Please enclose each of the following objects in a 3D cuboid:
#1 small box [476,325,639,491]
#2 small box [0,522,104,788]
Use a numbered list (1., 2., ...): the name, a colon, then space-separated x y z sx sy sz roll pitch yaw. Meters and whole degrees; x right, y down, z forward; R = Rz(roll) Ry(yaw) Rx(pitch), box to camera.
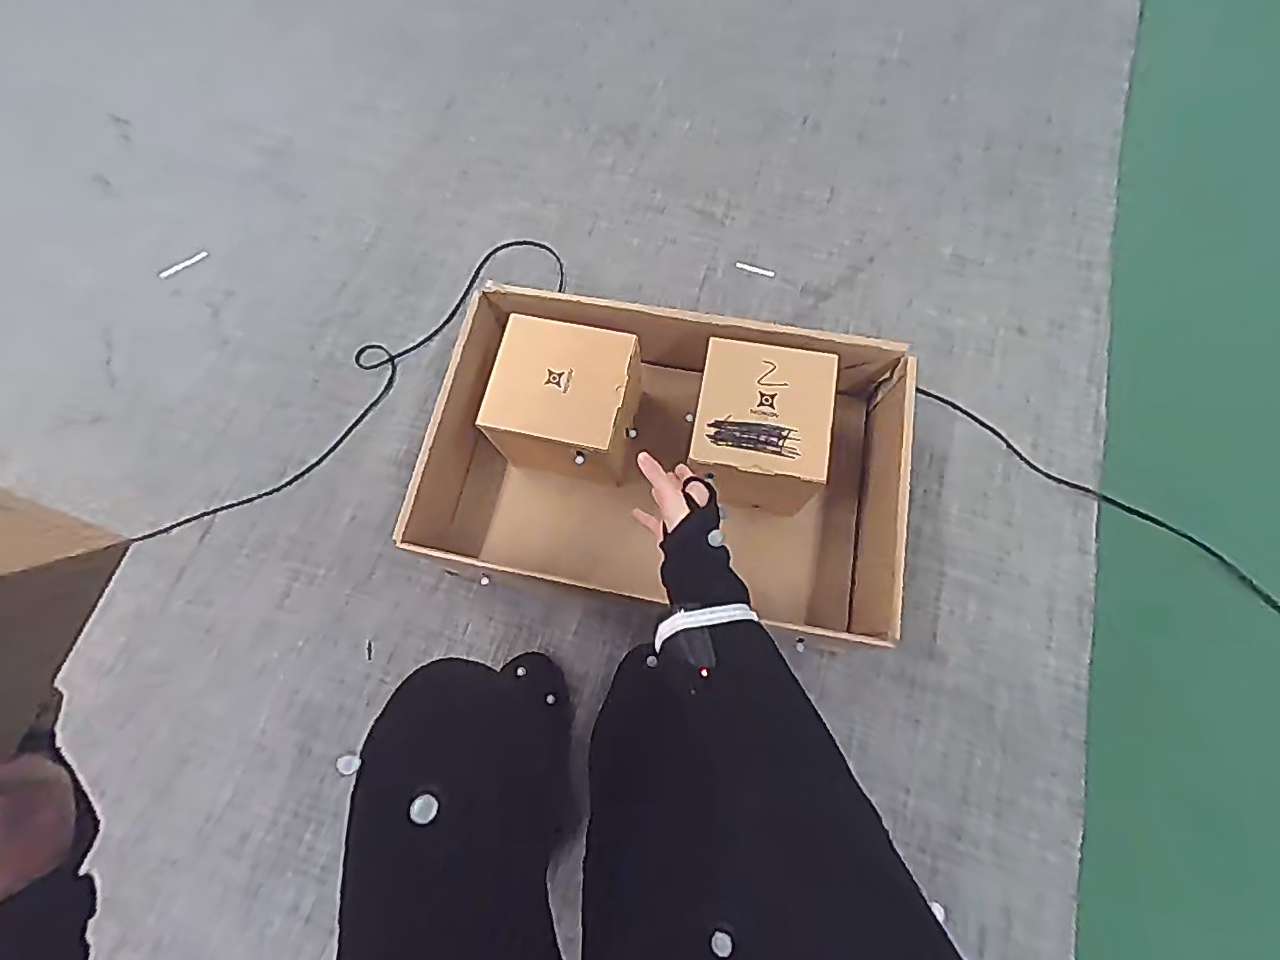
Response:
1. small box: -0.104 -0.094 0.771 0.179 0.176 0.168 11 74 5
2. small box: -0.364 0.086 0.192 0.168 0.176 0.179 28 87 -12
